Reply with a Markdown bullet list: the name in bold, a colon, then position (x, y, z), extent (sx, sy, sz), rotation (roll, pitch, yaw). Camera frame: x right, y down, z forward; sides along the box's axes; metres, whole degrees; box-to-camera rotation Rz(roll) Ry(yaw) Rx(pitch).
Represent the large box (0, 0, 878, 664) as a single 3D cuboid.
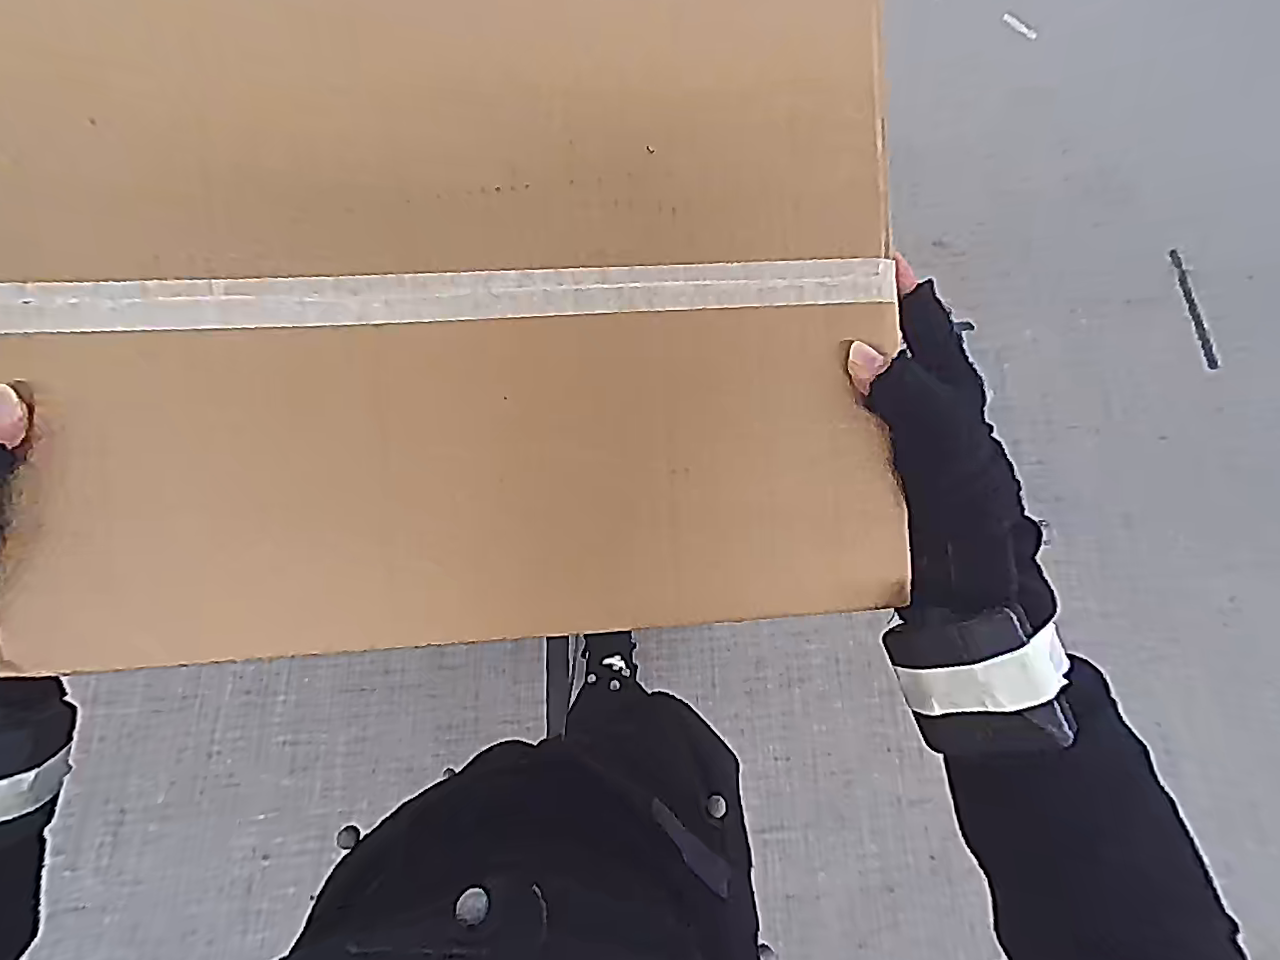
- **large box**: position (-0.093, -0.085, 0.405), extent (0.408, 0.320, 0.320), rotation (-3, 91, -5)
